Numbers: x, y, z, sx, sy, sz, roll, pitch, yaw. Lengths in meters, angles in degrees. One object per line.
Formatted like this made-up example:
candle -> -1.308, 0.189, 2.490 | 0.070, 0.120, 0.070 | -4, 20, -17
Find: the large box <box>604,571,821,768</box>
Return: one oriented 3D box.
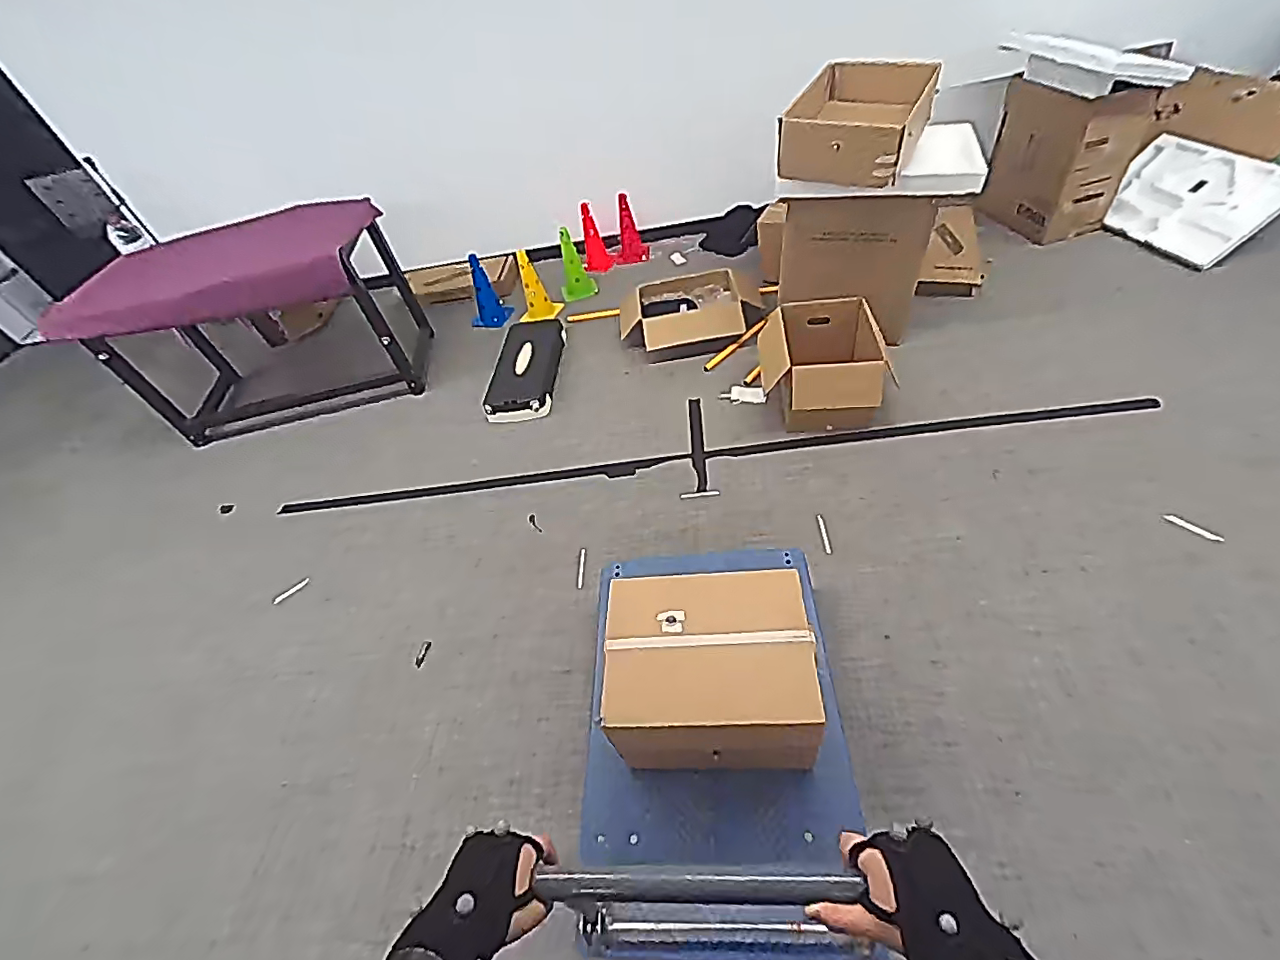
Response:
large box -> 0.157, 0.428, 1.193 | 0.408, 0.320, 0.320 | -6, 47, 9
